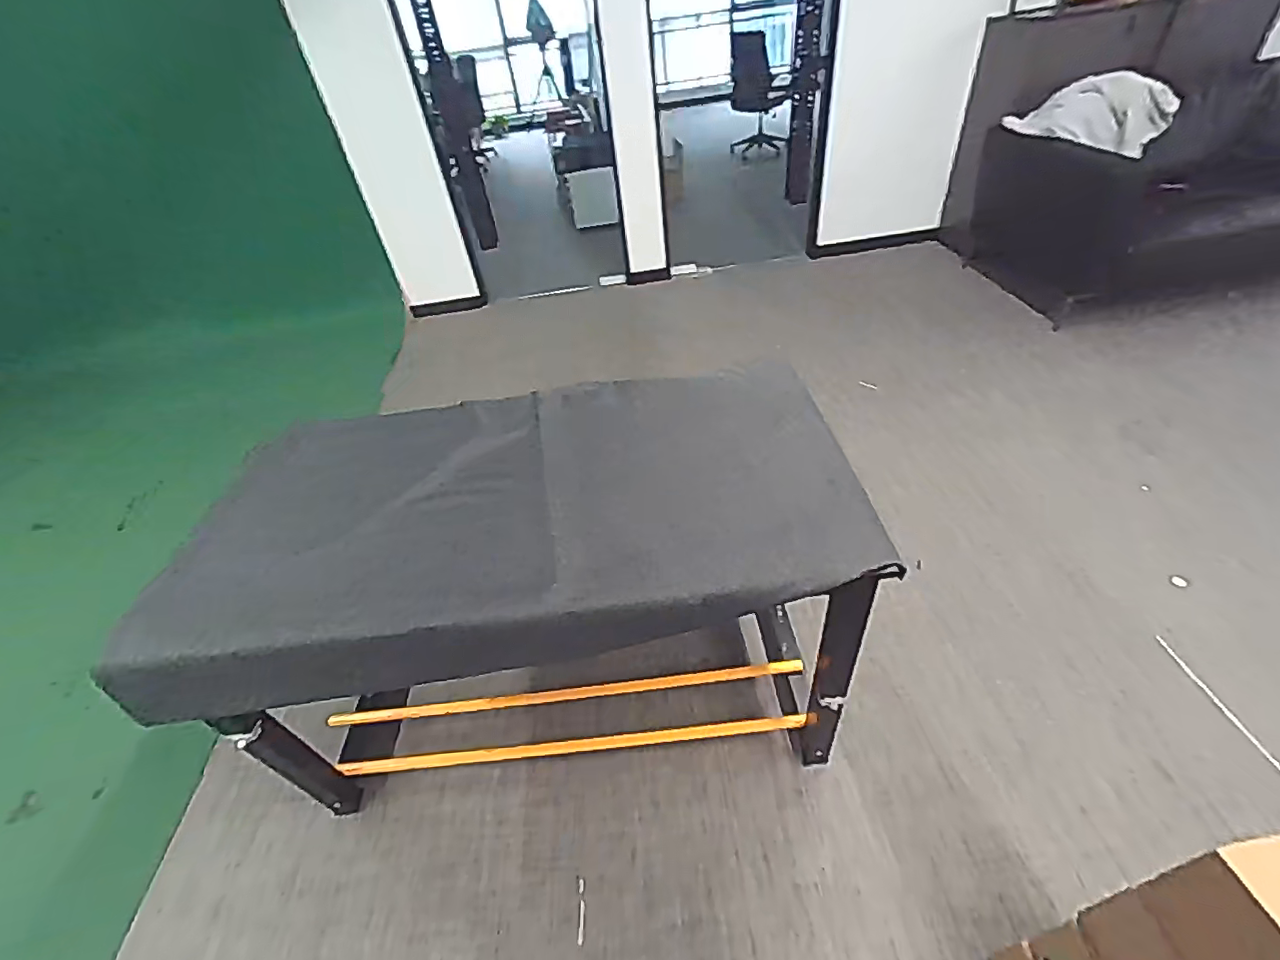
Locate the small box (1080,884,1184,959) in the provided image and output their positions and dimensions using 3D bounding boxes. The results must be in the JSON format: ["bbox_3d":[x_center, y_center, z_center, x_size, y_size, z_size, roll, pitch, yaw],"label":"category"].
[{"bbox_3d":[0.708,0.606,0.663,0.168,0.176,0.179,-10,42,-3],"label":"small box"}]

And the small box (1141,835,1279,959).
[{"bbox_3d":[0.693,0.486,0.554,0.168,0.176,0.179,-10,41,-3],"label":"small box"}]

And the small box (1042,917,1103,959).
[{"bbox_3d":[0.721,0.729,0.771,0.179,0.176,0.168,-10,42,-4],"label":"small box"}]

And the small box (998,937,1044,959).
[{"bbox_3d":[0.727,0.852,0.879,0.179,0.176,0.168,-12,41,-3],"label":"small box"}]
